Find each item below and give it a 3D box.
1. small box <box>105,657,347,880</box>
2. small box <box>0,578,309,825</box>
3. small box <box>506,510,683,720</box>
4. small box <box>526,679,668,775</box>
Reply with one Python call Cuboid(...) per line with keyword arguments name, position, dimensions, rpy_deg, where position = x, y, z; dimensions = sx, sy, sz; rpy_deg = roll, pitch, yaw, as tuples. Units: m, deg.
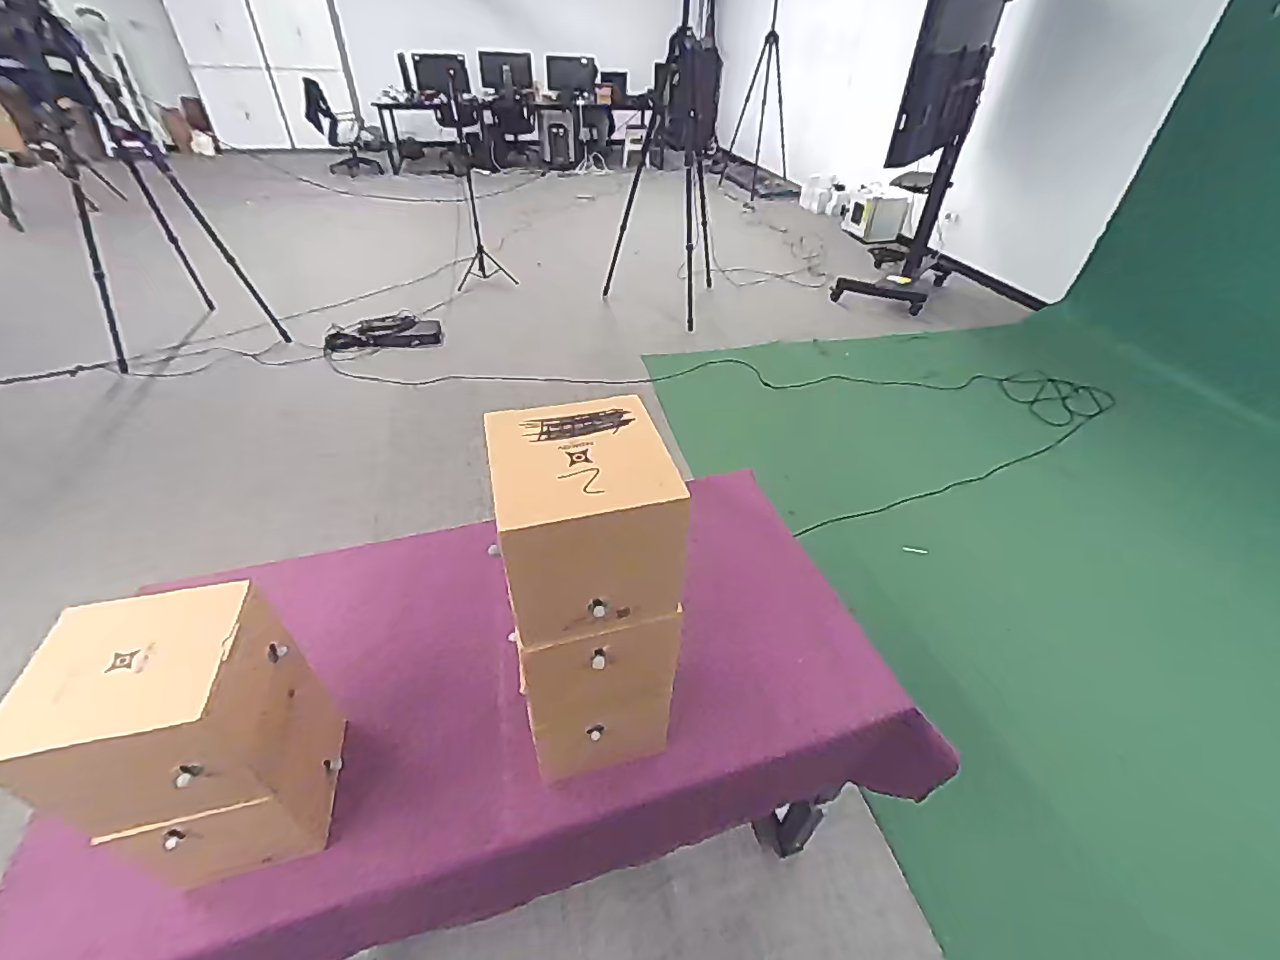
Cuboid(name="small box", position=(-0.488, 0.356, 0.677), dimensions=(0.168, 0.176, 0.179), rpy_deg=(-9, 41, -12))
Cuboid(name="small box", position=(-0.483, 0.231, 0.571), dimensions=(0.179, 0.176, 0.168), rpy_deg=(-8, 41, -11))
Cuboid(name="small box", position=(-0.060, 0.165, 0.666), dimensions=(0.179, 0.176, 0.168), rpy_deg=(-11, 42, -12))
Cuboid(name="small box", position=(-0.067, 0.289, 0.770), dimensions=(0.179, 0.176, 0.168), rpy_deg=(-9, 41, -13))
